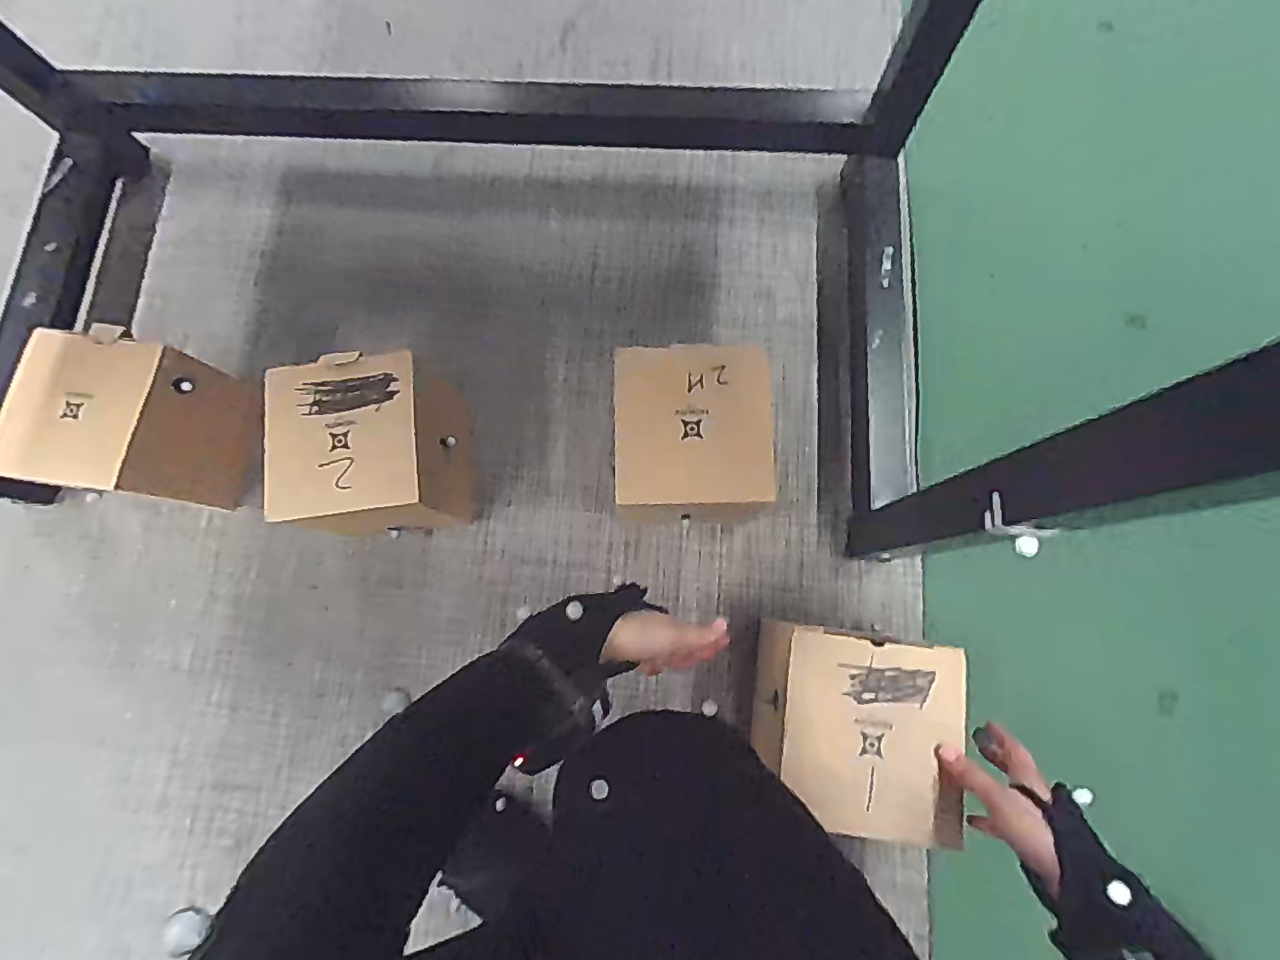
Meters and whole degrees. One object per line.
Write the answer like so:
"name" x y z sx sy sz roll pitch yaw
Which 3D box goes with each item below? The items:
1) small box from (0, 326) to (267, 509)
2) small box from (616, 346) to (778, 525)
"small box" -0.616 -0.067 0.678 0.168 0.176 0.179 8 78 5
"small box" 0.062 -0.041 0.635 0.168 0.176 0.179 -1 78 2
